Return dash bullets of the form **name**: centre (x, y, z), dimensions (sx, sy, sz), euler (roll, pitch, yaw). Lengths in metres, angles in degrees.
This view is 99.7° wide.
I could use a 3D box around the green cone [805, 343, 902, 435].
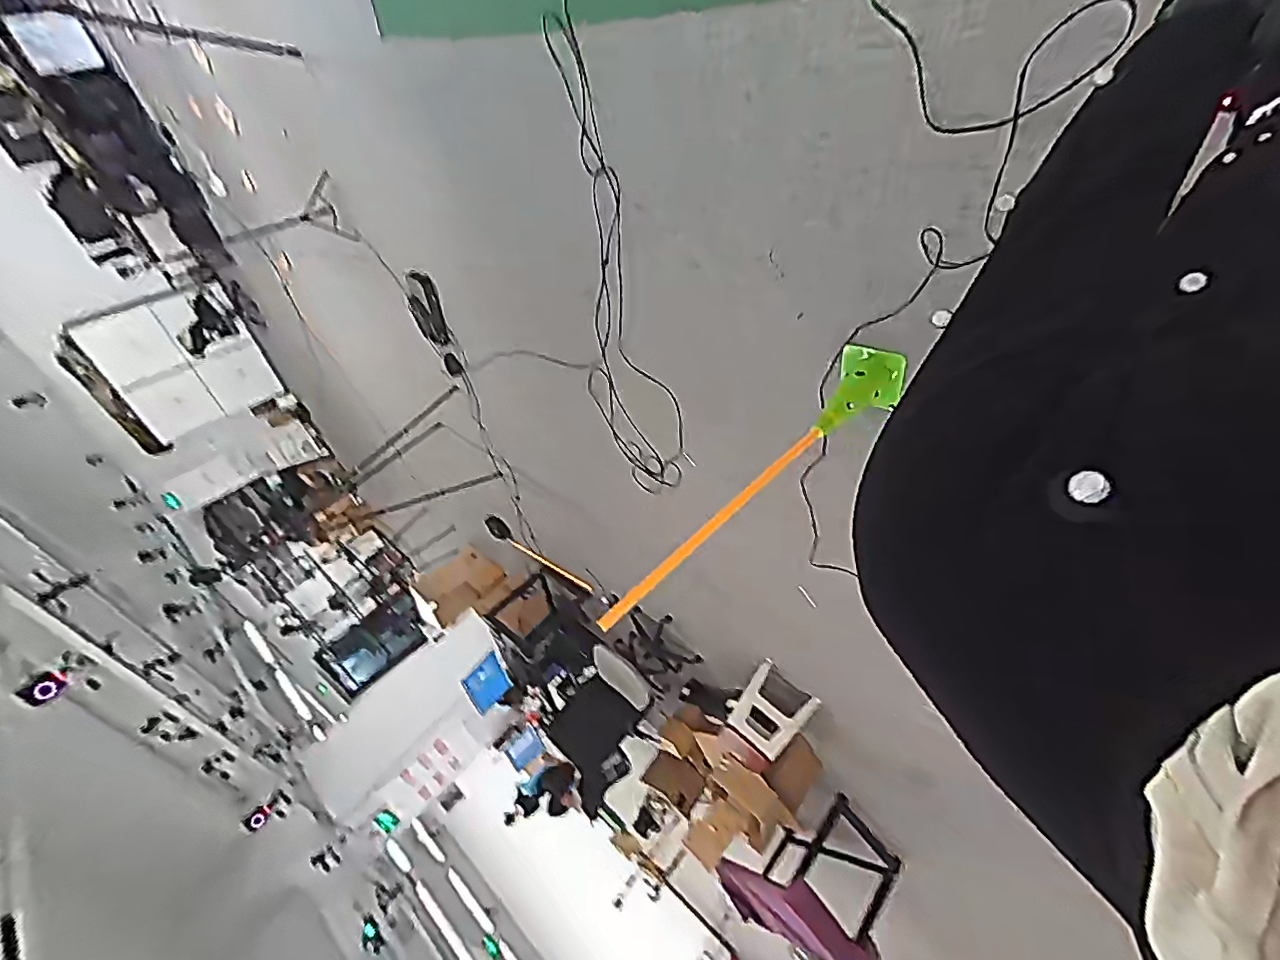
- **green cone**: centre (0.626, -0.247, 1.670), dimensions (0.202, 0.368, 0.200), euler (26, 141, 37)
